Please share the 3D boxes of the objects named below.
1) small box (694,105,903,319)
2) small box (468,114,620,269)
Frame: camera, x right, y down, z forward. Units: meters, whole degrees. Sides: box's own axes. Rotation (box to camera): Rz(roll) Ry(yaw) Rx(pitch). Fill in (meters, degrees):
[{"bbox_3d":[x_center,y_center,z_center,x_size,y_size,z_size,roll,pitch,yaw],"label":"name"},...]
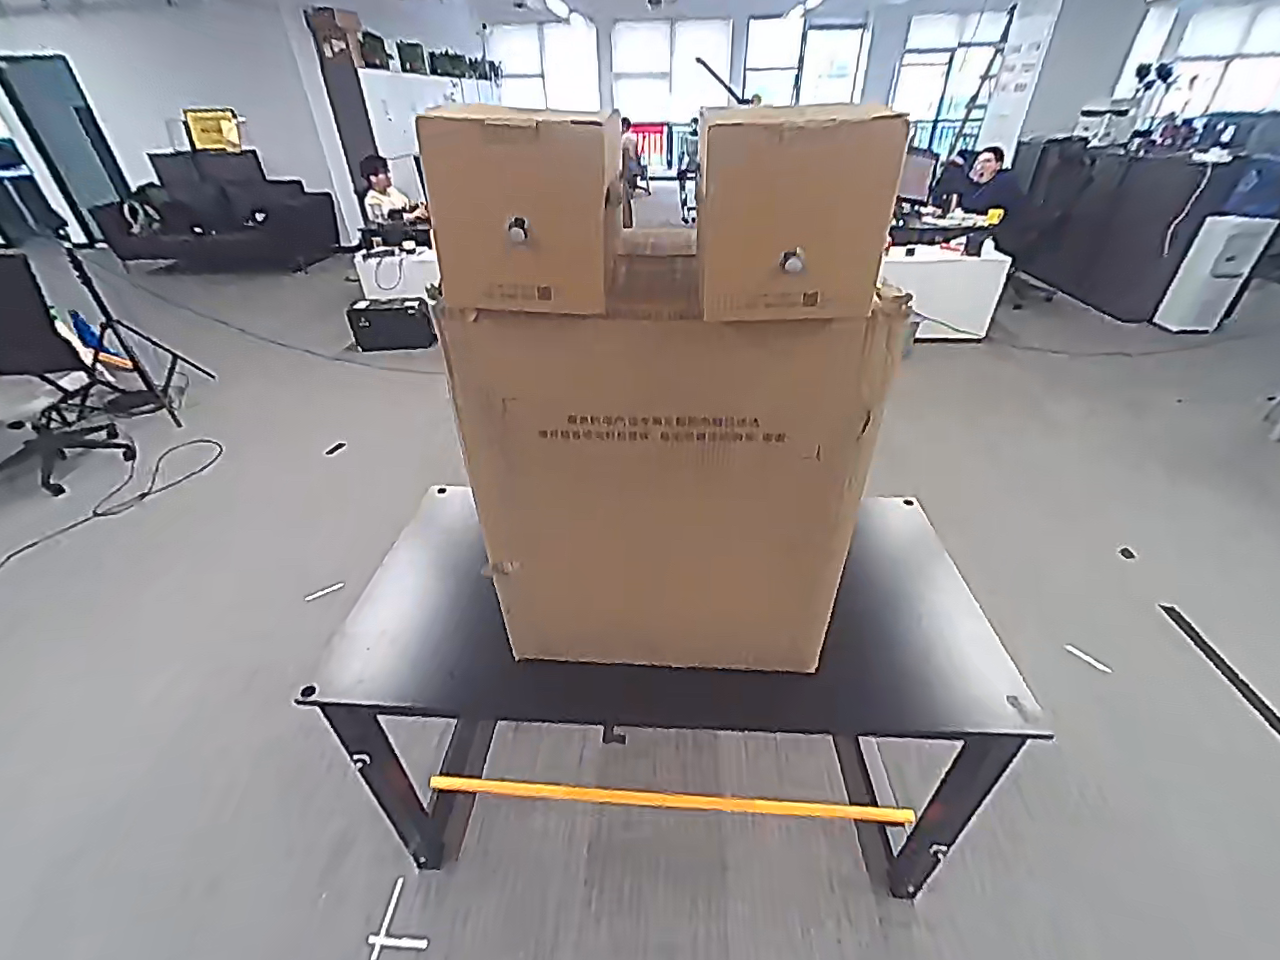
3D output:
[{"bbox_3d":[0.140,-0.275,0.555,0.168,0.176,0.179,-1,38,4],"label":"small box"},{"bbox_3d":[-0.115,-0.395,0.735,0.168,0.176,0.179,0,35,2],"label":"small box"}]
